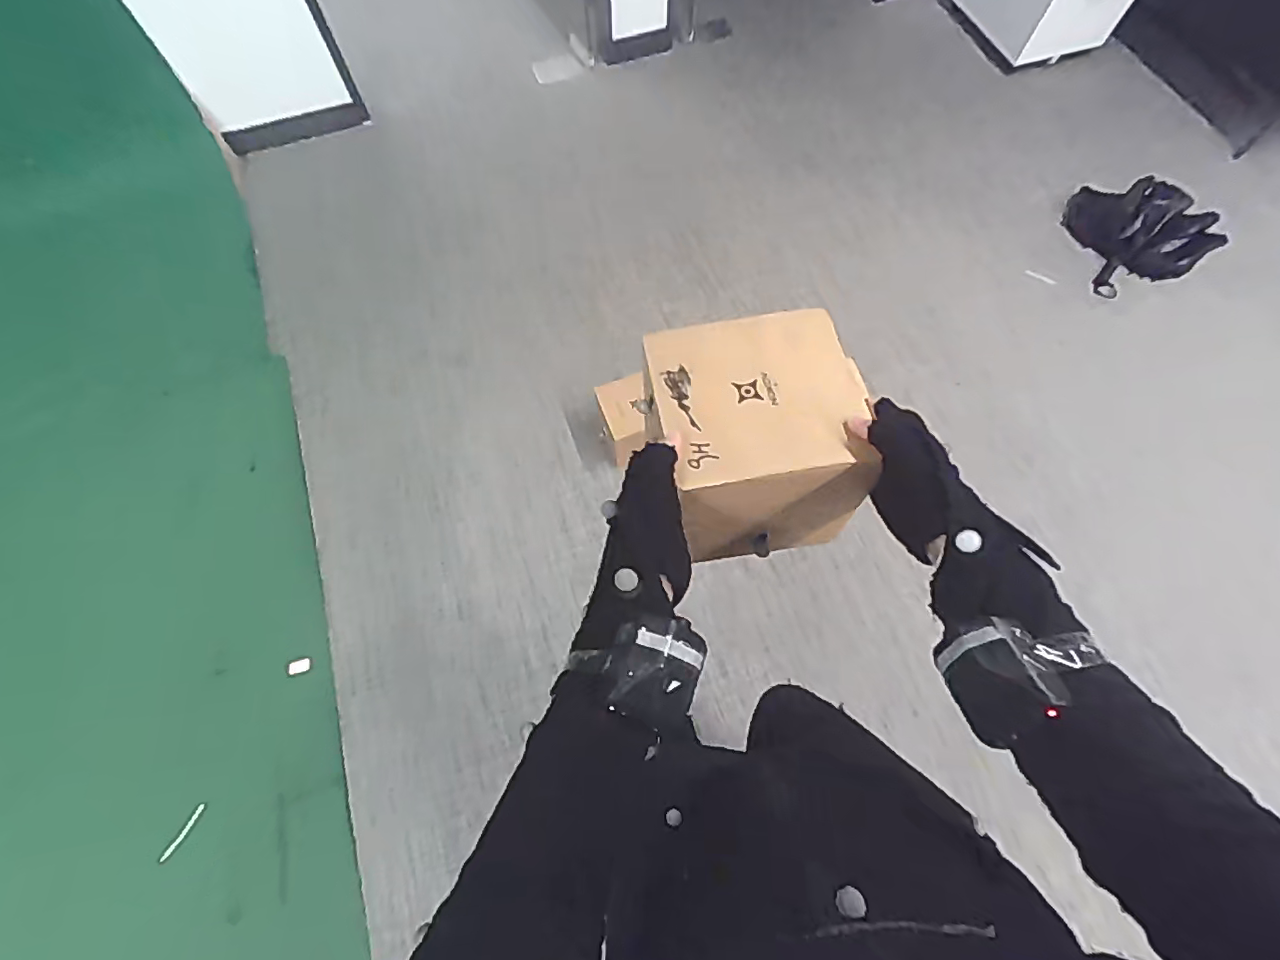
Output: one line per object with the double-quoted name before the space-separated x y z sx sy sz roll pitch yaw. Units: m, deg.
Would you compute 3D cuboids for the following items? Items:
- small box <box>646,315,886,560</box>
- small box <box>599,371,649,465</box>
"small box" 0.102 -0.034 0.533 0.179 0.176 0.168 -8 61 -3
"small box" 0.002 -0.164 1.448 0.179 0.176 0.168 -21 69 -6
